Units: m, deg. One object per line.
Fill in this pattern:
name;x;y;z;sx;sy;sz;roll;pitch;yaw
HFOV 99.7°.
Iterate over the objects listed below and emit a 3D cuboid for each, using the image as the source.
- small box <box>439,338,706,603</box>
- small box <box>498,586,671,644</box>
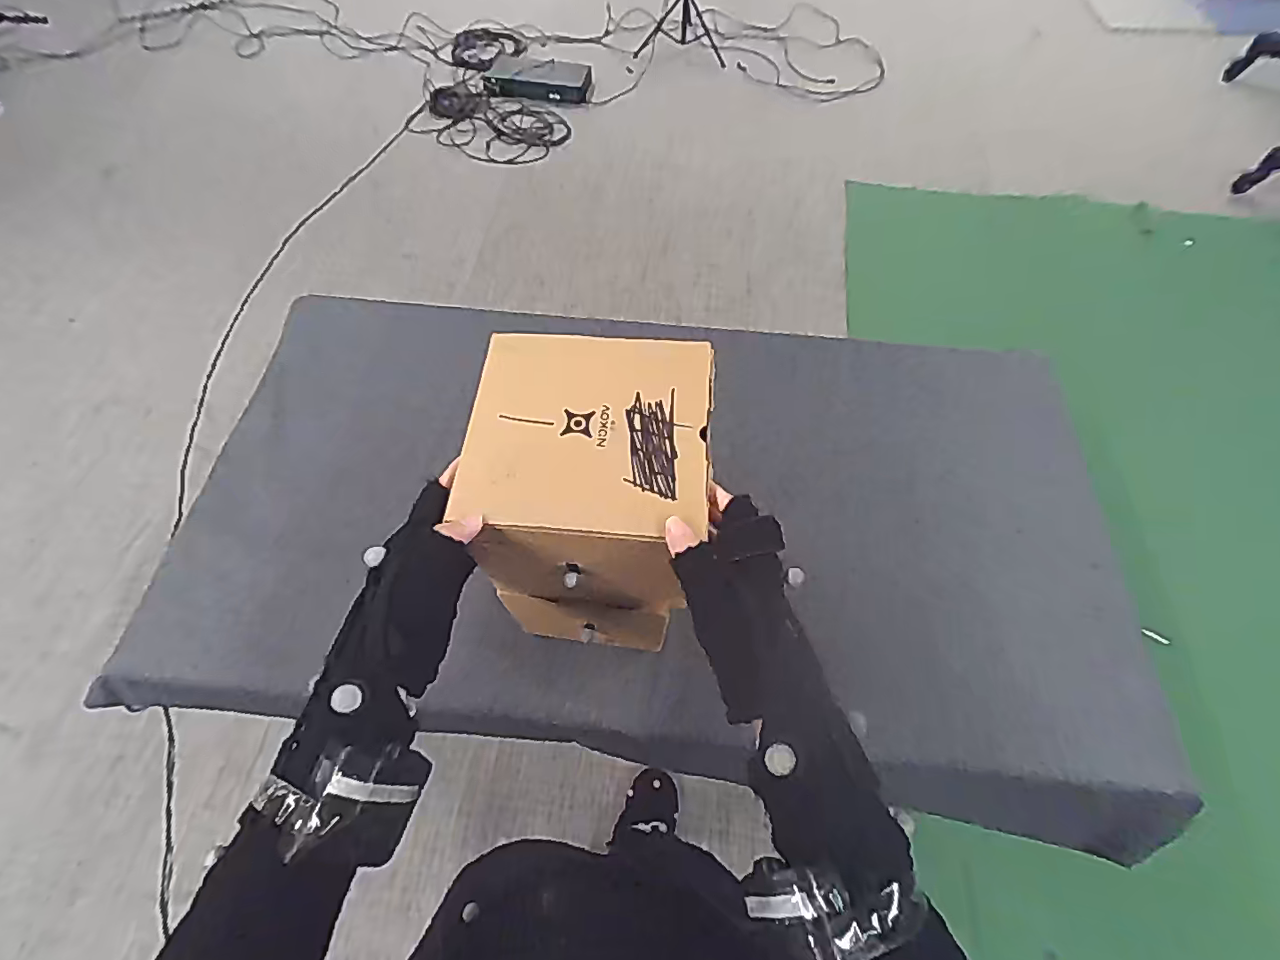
small box;-0.040;0.002;0.459;0.179;0.176;0.168;2;63;4
small box;-0.044;0.079;0.612;0.168;0.176;0.179;5;62;3
